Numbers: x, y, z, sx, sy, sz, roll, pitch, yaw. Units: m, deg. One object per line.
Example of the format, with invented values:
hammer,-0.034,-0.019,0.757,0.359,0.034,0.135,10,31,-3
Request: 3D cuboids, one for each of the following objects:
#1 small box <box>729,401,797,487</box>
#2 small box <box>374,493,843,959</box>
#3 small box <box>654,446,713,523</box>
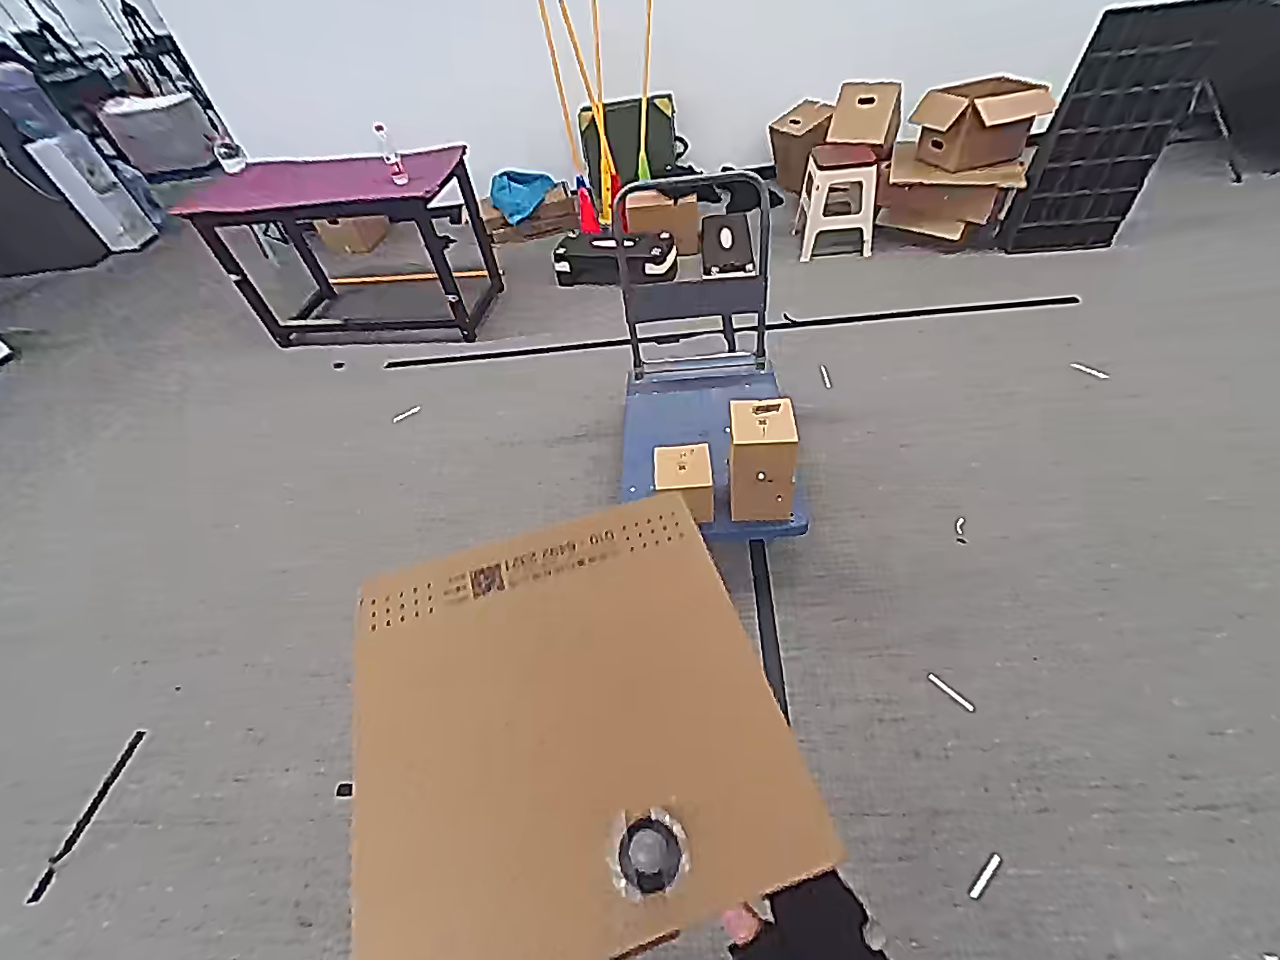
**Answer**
small box,0.332,-0.098,1.493,0.168,0.176,0.179,-2,48,7
small box,-0.026,0.134,0.294,0.168,0.179,0.176,-16,54,-9
small box,0.132,0.020,1.640,0.168,0.176,0.179,-4,46,4
